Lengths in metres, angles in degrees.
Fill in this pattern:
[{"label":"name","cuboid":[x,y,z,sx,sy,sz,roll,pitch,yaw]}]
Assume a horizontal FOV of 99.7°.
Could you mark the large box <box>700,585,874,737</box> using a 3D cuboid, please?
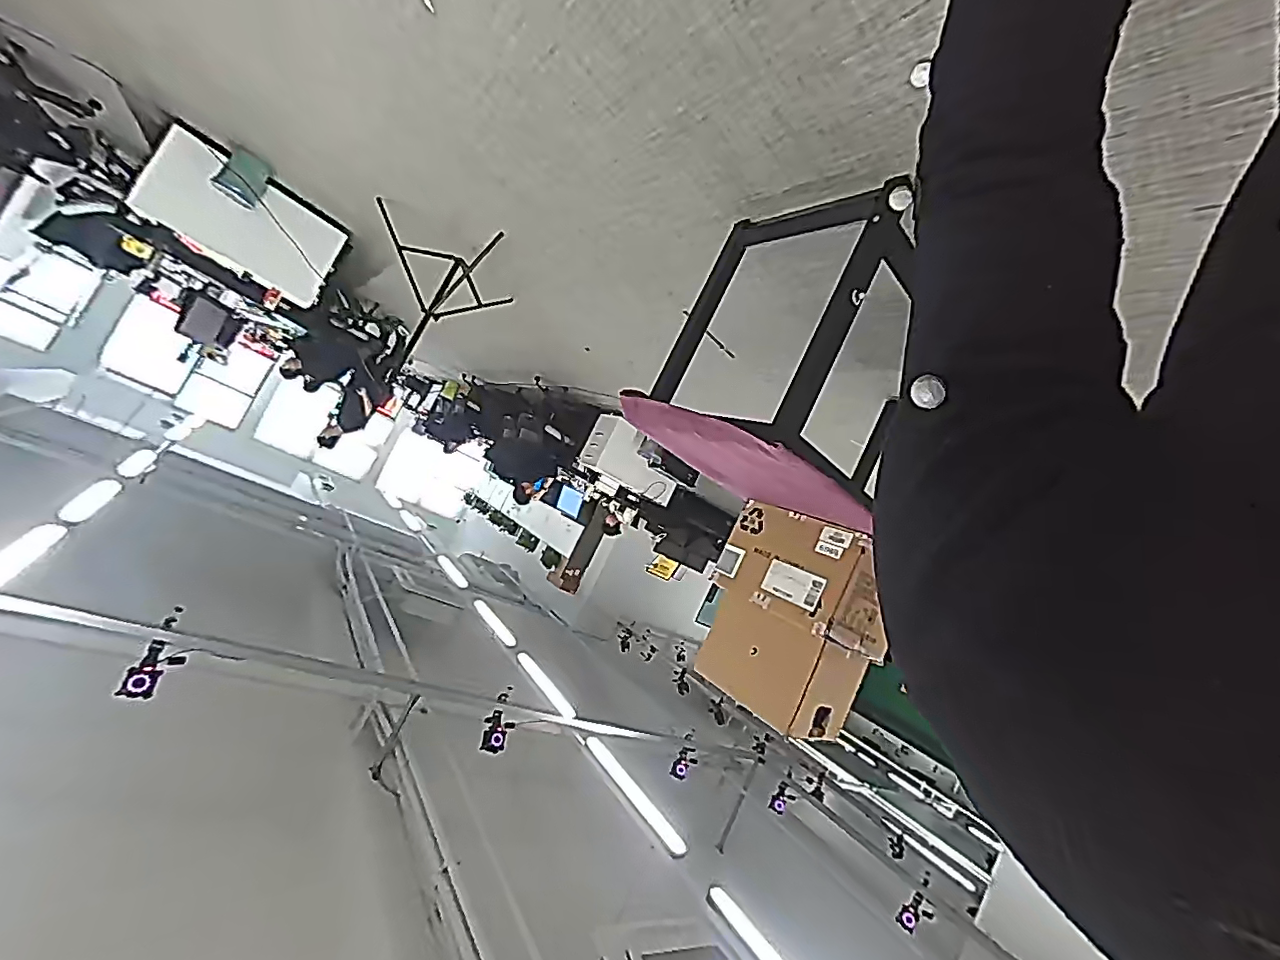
[{"label":"large box","cuboid":[0.477,0.584,1.787,0.320,0.320,0.408,25,176,-37]}]
